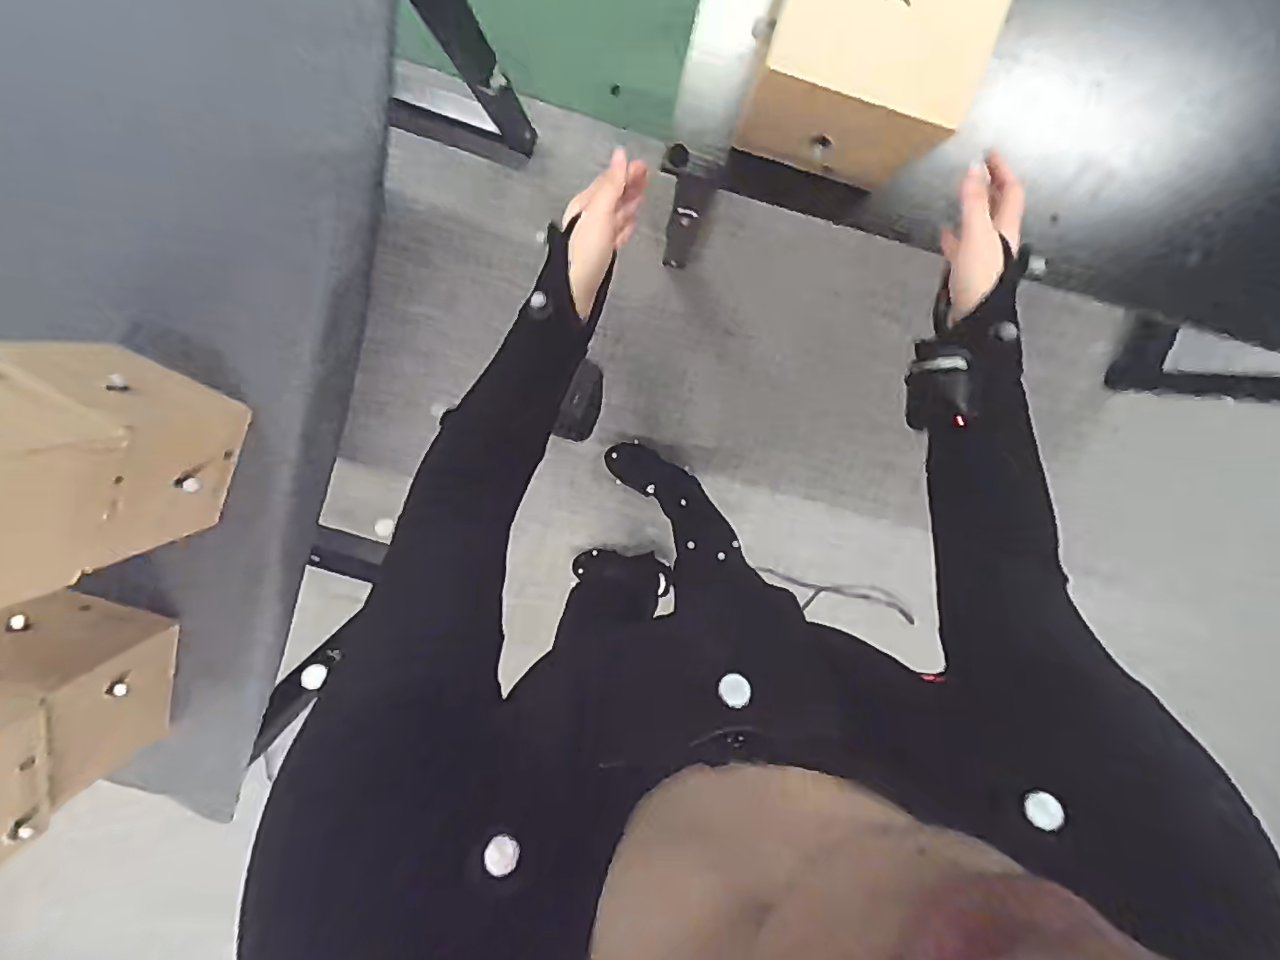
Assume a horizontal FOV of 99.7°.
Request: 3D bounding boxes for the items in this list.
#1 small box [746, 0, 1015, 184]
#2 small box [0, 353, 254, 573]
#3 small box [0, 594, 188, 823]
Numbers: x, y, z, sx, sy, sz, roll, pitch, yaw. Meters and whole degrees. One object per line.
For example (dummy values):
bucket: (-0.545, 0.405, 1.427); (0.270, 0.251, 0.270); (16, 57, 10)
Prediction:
small box: (0.203, -0.394, 0.483); (0.168, 0.176, 0.179); (15, 103, -3)
small box: (-0.573, -0.032, 0.589); (0.179, 0.176, 0.168); (26, 103, -4)
small box: (-0.705, 0.265, 0.663); (0.168, 0.176, 0.179); (16, 103, 0)
